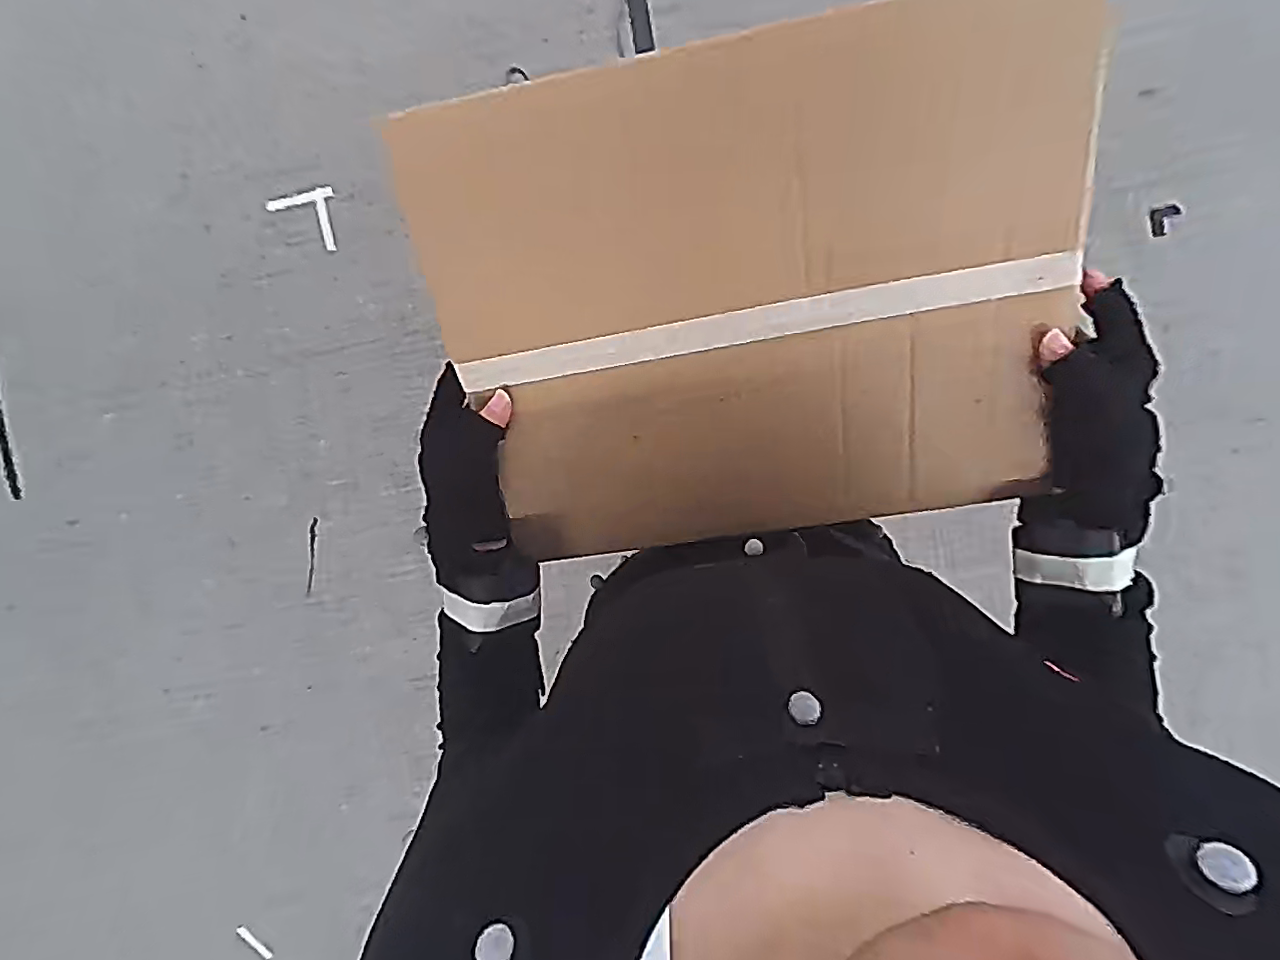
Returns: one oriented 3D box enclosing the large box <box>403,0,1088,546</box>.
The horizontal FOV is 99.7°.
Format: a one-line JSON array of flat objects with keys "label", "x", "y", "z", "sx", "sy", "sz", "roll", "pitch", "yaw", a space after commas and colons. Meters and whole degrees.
[{"label": "large box", "x": 0.078, "y": -0.171, "z": 0.503, "sx": 0.408, "sy": 0.320, "sz": 0.320, "roll": -8, "pitch": 114, "yaw": 6}]
